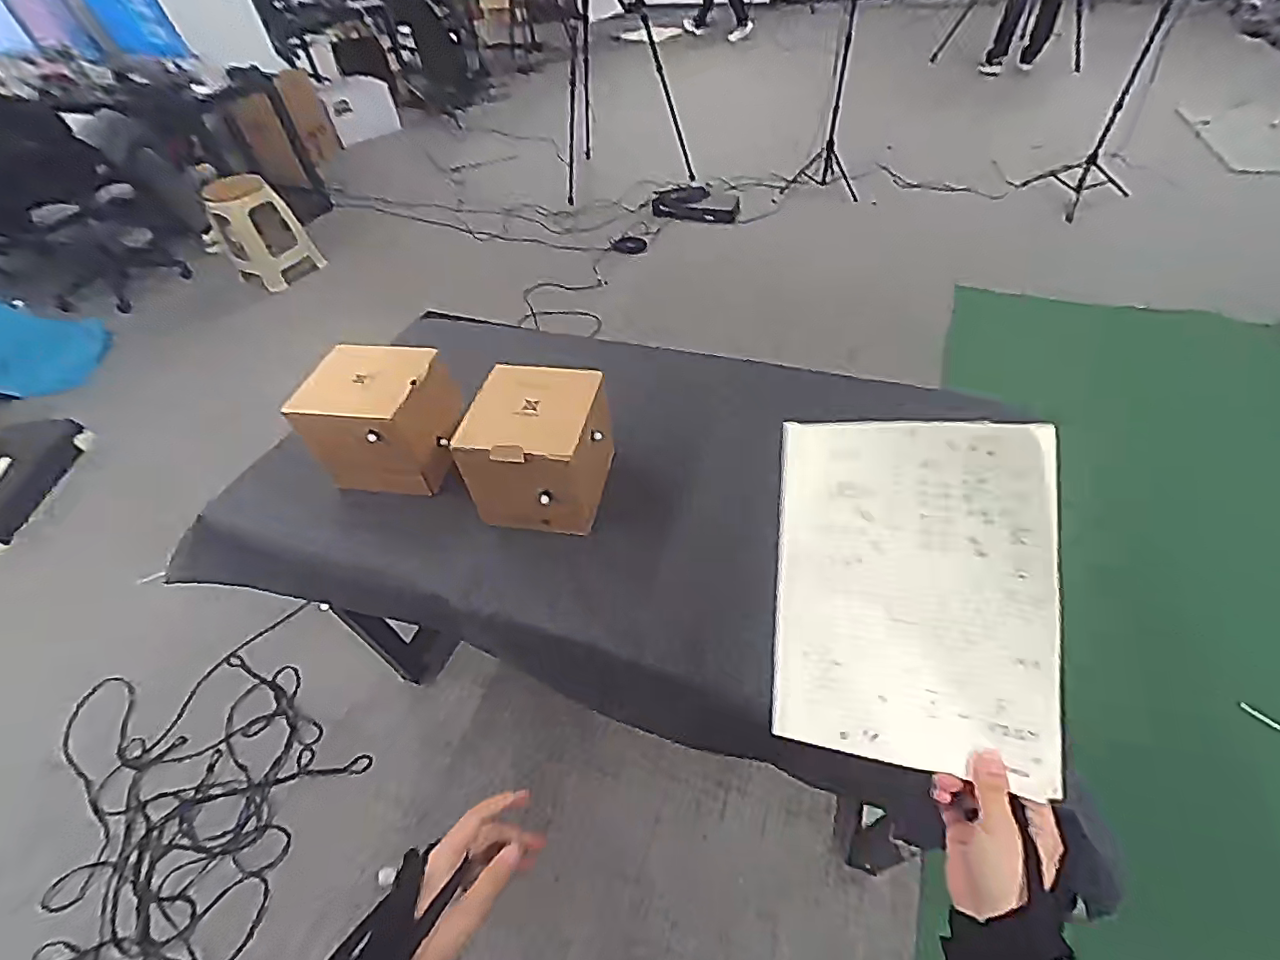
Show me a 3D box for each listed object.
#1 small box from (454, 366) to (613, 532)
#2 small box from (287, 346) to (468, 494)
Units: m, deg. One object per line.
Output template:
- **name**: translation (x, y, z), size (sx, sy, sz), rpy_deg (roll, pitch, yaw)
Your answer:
- **small box**: translation (-0.139, -0.043, 0.790), size (0.168, 0.176, 0.179), rpy_deg (6, 48, 9)
- **small box**: translation (-0.398, -0.094, 0.860), size (0.179, 0.176, 0.168), rpy_deg (4, 48, 8)
